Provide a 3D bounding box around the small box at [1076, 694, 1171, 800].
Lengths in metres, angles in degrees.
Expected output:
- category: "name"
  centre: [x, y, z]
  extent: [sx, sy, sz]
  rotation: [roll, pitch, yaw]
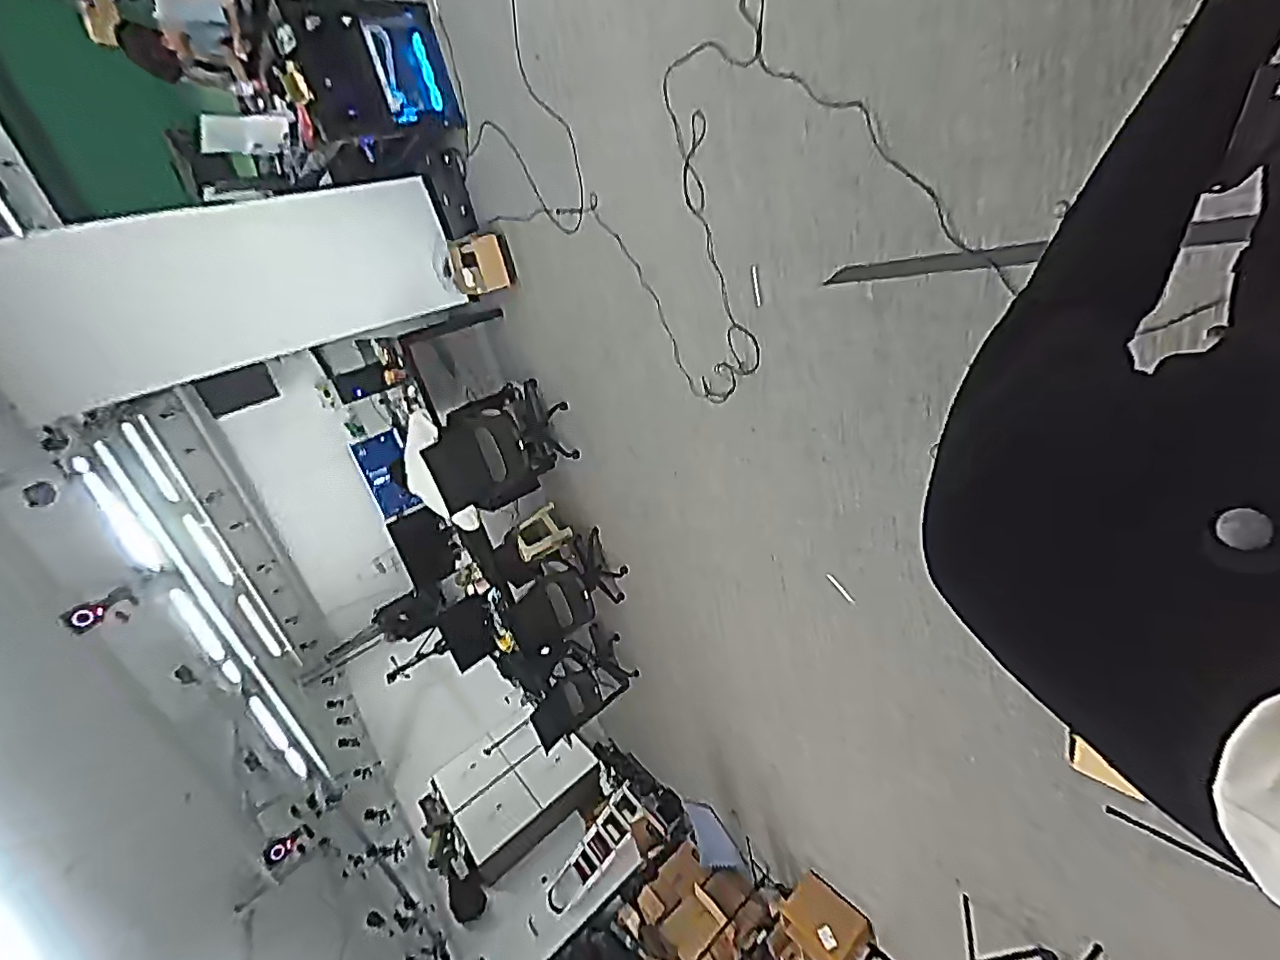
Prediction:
- category: "small box"
  centre: [1.399, 0.765, 1.564]
  extent: [0.168, 0.176, 0.179]
  rotation: [15, 125, 51]
